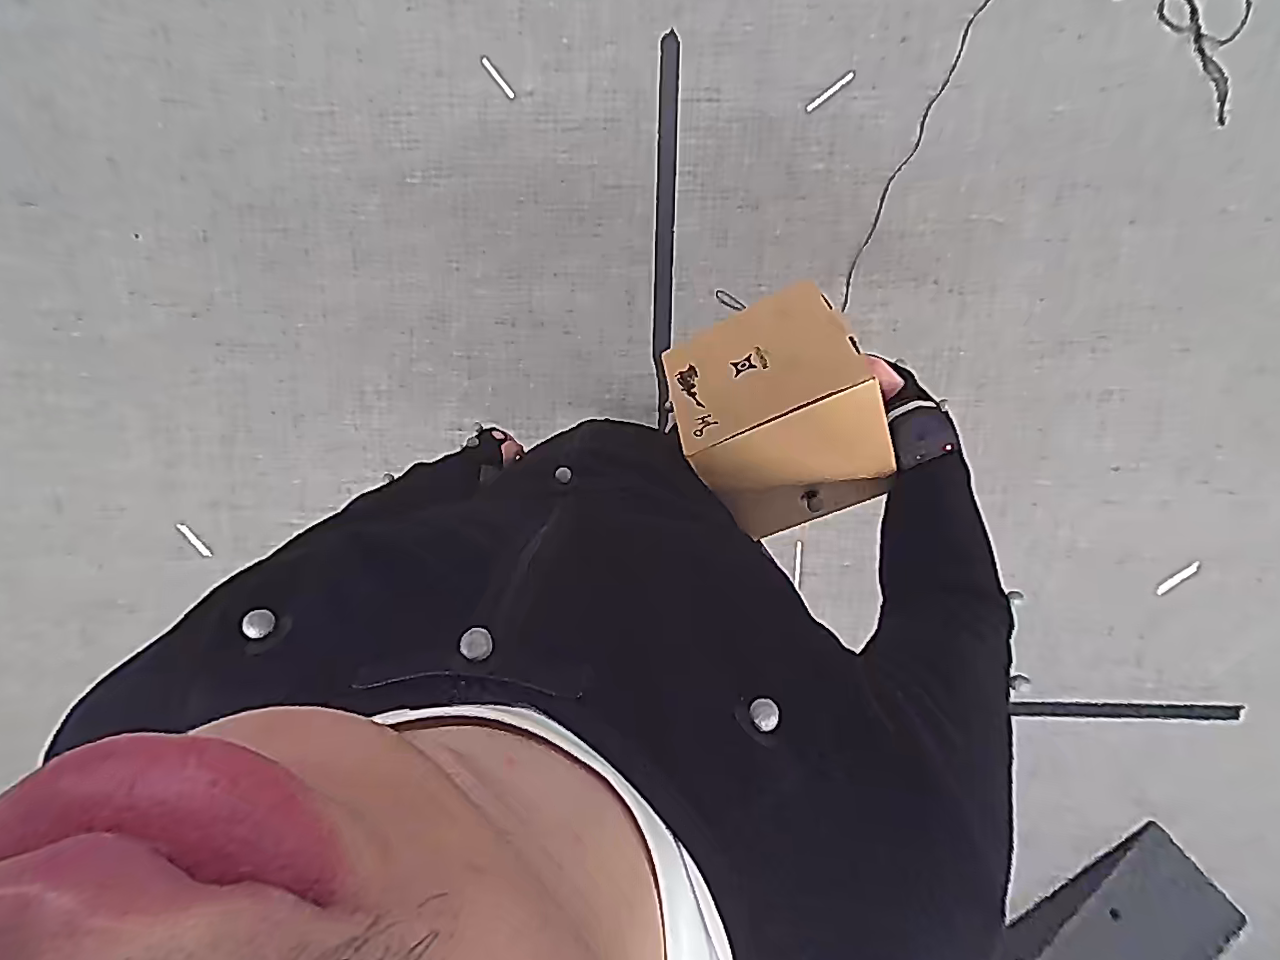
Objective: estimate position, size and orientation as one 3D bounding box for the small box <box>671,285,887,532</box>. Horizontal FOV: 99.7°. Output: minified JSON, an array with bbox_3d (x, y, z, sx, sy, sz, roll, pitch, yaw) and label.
[{"bbox_3d":[0.154,-0.070,0.594,0.179,0.168,0.176,-22,135,16],"label":"small box"}]
